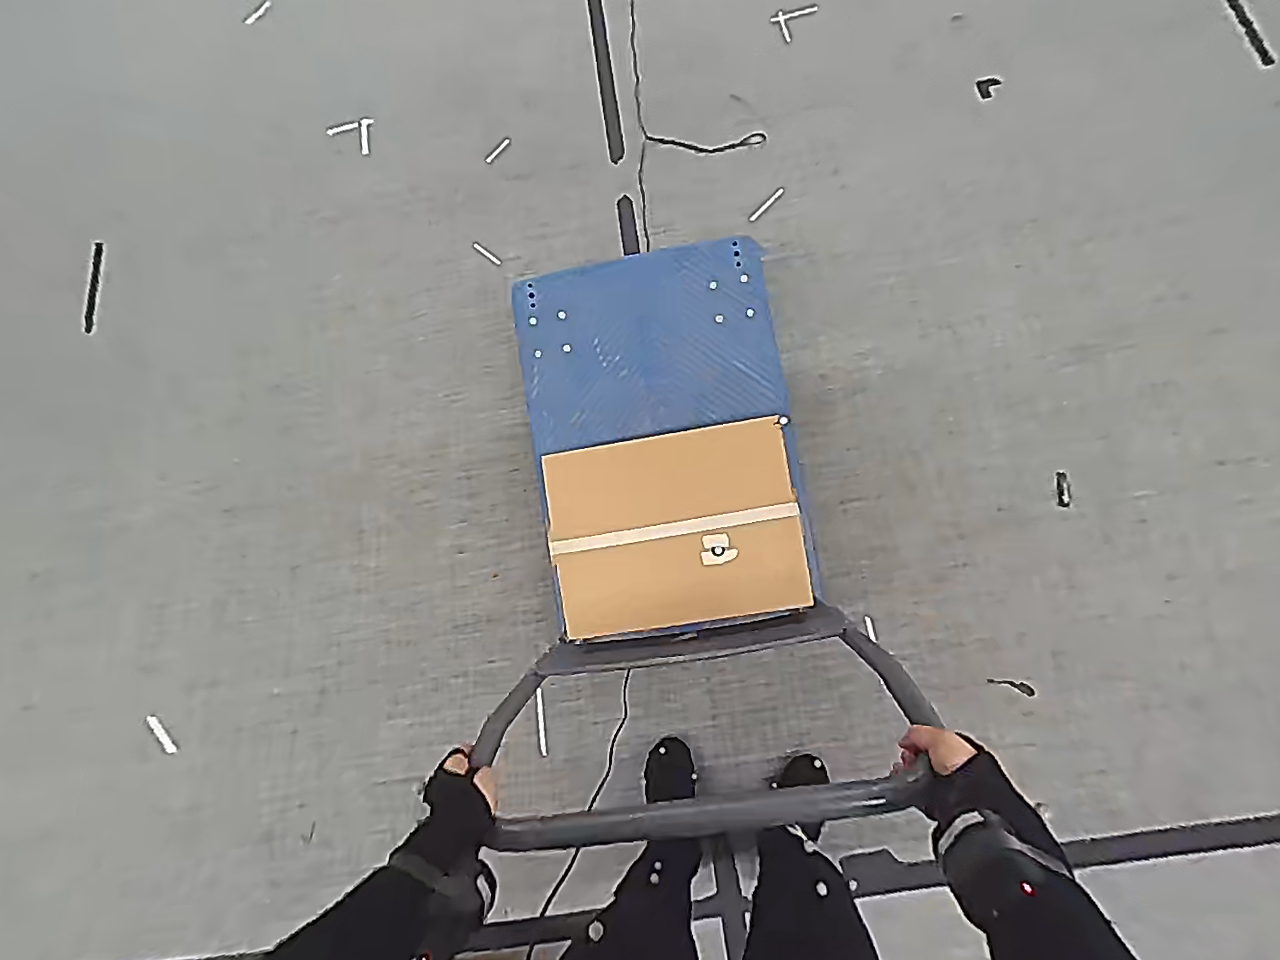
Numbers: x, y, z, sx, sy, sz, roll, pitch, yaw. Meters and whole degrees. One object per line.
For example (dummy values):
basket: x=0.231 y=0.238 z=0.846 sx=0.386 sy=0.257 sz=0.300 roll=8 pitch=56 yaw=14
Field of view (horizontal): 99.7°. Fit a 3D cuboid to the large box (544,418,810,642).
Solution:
large box: x=0.067 y=0.096 z=1.045 sx=0.408 sy=0.320 sz=0.320 roll=-11 pitch=86 yaw=4
